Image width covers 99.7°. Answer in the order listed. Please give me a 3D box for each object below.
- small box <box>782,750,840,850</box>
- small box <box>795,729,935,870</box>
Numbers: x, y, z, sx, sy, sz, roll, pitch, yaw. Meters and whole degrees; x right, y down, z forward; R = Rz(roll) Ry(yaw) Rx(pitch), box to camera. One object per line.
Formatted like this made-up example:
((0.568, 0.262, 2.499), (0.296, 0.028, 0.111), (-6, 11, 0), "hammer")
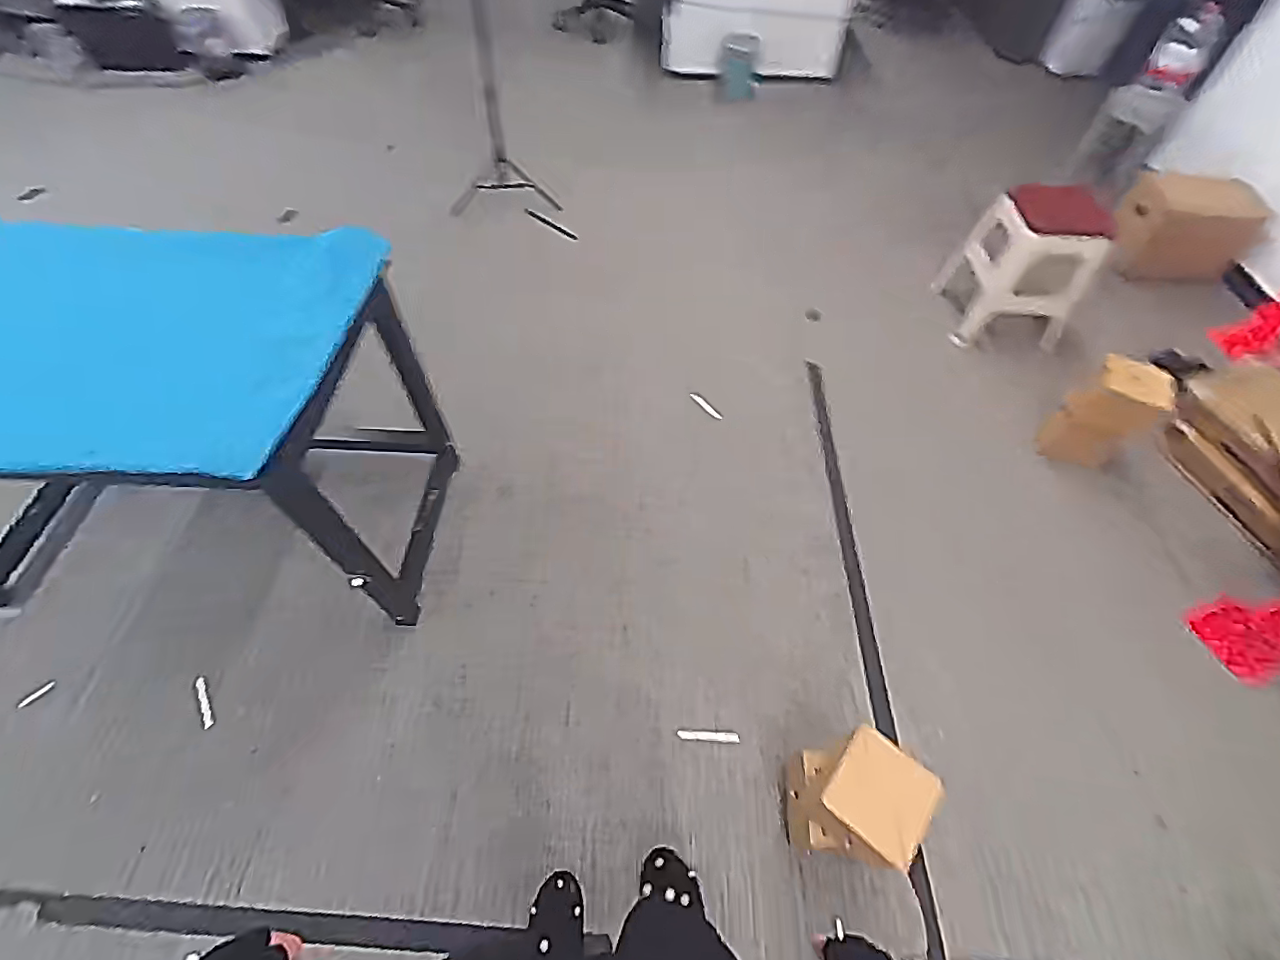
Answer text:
((0.420, 0.716, 1.202), (0.168, 0.176, 0.179), (6, 55, 1), "small box")
((0.437, 0.623, 1.063), (0.168, 0.176, 0.179), (36, 61, 20), "small box")
